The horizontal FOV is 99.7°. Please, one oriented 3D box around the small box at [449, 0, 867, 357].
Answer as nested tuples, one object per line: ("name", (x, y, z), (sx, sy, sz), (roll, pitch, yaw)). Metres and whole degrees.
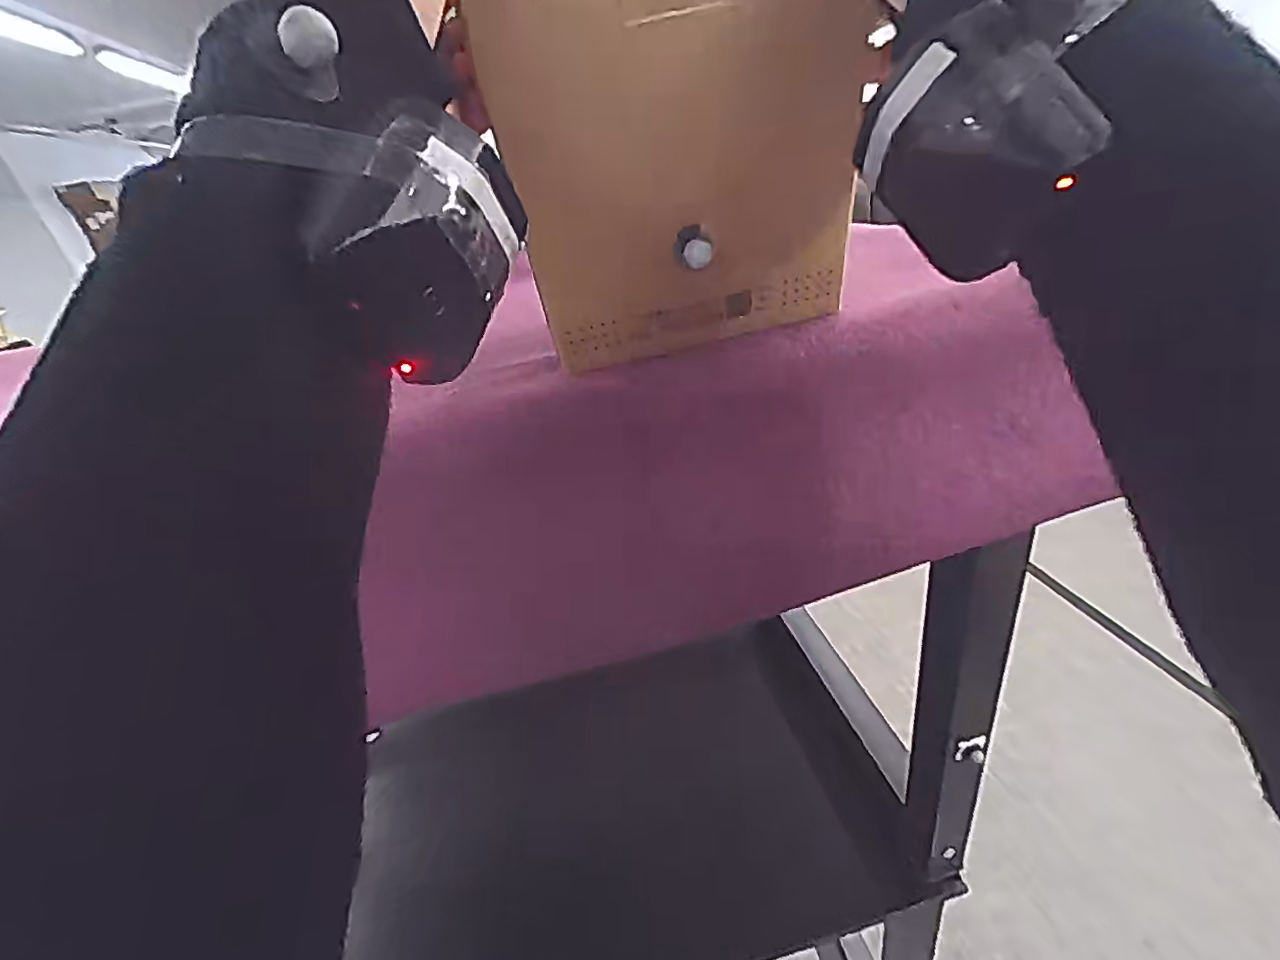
("small box", (0.005, -0.194, 0.309), (0.168, 0.176, 0.179), (-13, 42, -1))
